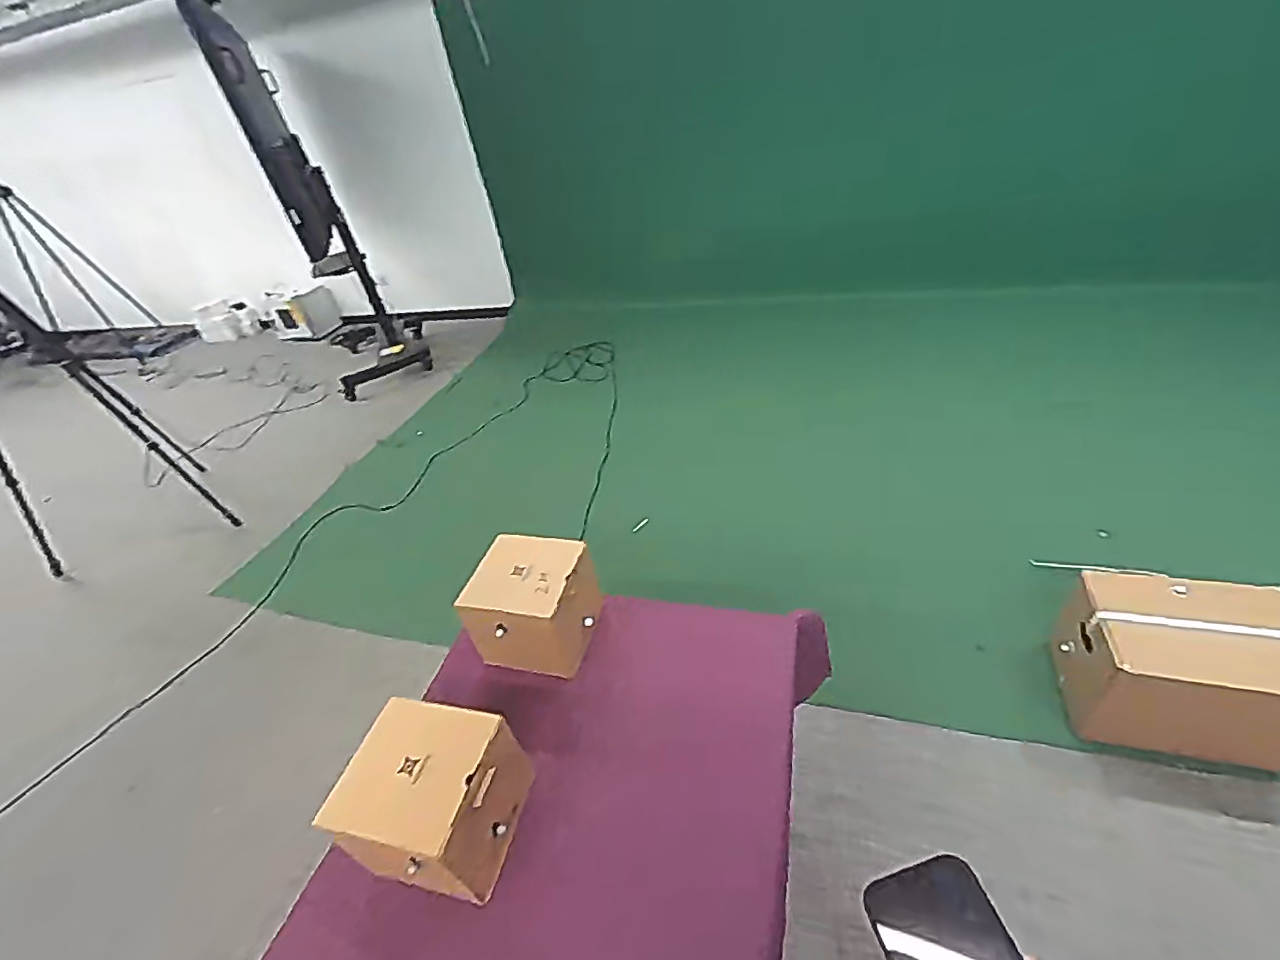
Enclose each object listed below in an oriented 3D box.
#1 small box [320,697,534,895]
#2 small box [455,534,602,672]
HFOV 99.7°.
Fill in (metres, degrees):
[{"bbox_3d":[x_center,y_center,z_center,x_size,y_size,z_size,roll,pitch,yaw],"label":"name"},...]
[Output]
[{"bbox_3d":[-0.267,0.419,0.722,0.179,0.176,0.168,2,39,16],"label":"small box"},{"bbox_3d":[-0.184,0.216,0.952,0.179,0.176,0.168,3,41,18],"label":"small box"}]
